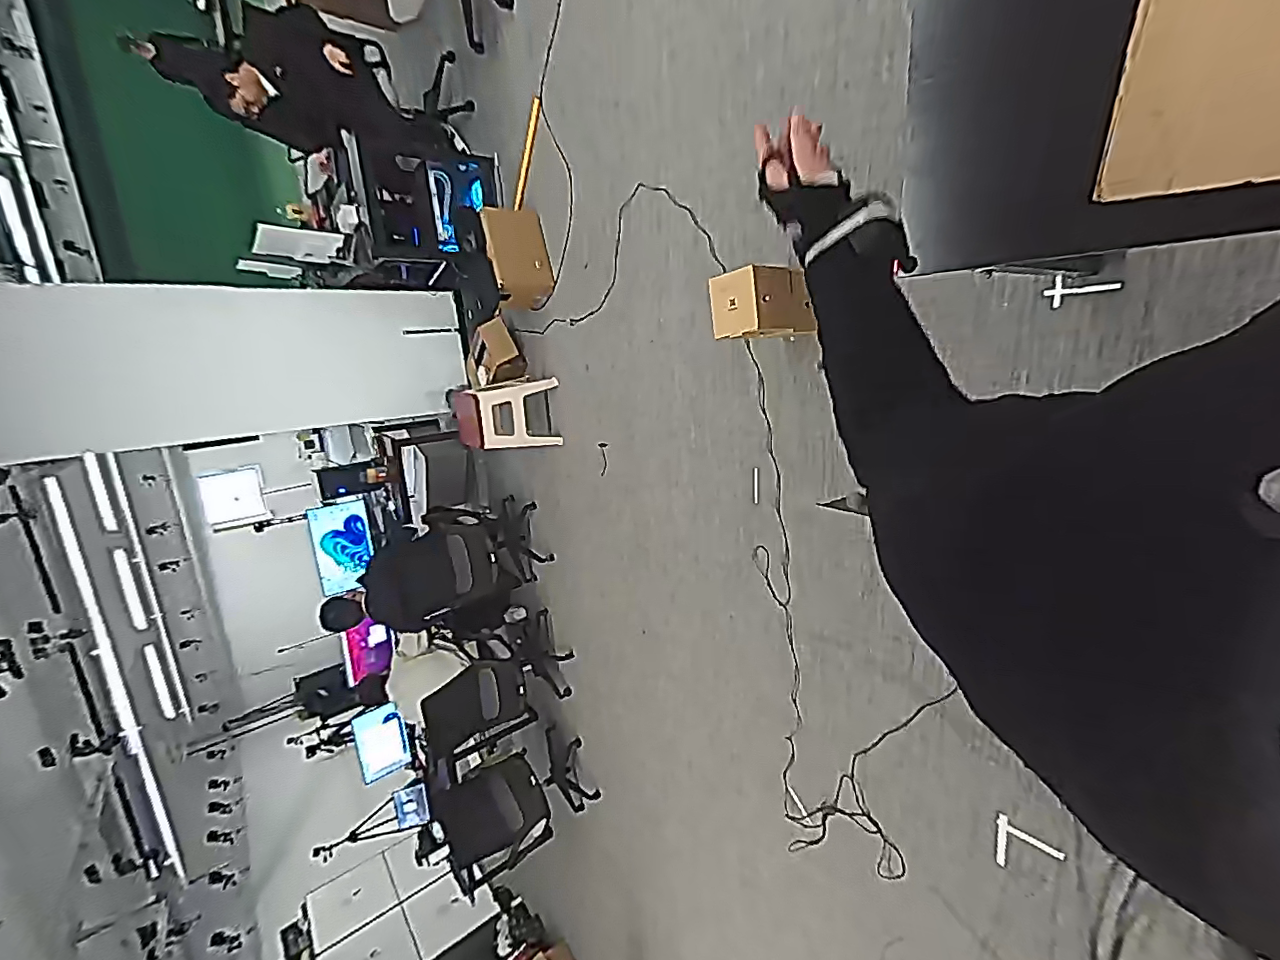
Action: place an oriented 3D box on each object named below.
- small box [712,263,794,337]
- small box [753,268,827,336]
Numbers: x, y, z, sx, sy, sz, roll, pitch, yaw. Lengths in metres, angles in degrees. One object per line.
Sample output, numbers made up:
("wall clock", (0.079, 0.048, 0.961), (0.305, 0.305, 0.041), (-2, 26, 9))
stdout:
("small box", (0.331, -0.519, 1.569), (0.168, 0.176, 0.179), (4, 104, 52))
("small box", (0.459, -0.544, 1.666), (0.168, 0.176, 0.179), (9, 109, 52))
